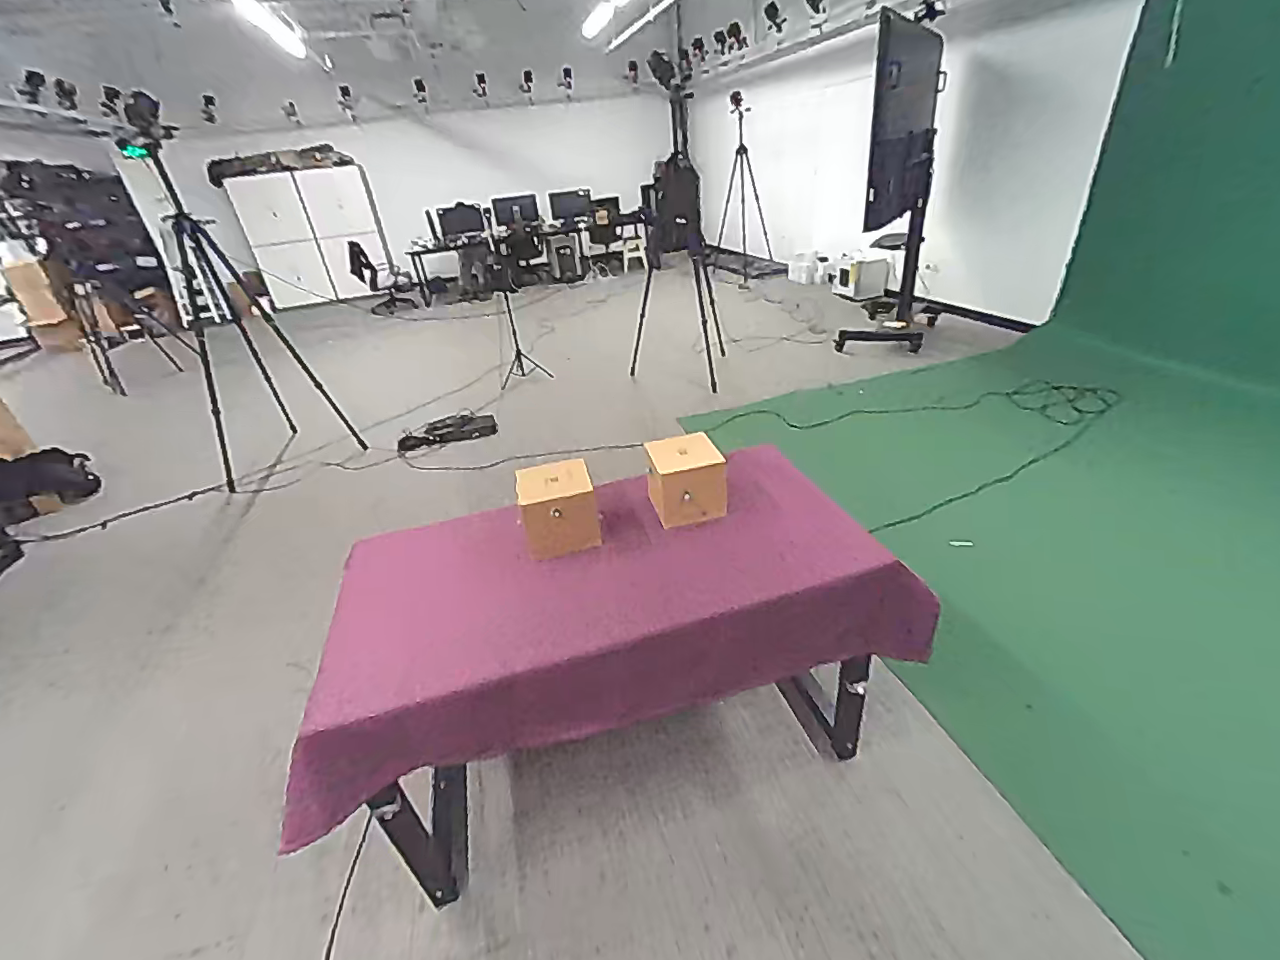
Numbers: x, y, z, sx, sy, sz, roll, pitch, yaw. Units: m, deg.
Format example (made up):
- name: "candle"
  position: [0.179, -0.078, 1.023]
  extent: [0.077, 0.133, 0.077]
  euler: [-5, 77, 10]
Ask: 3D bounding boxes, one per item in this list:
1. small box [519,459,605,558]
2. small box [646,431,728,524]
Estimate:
- name: "small box"
  position: [-0.193, 0.072, 1.337]
  extent: [0.179, 0.176, 0.168]
  euler: [-12, 32, -8]
- name: "small box"
  position: [0.122, -0.002, 1.389]
  extent: [0.168, 0.176, 0.179]
  euler: [-12, 30, -7]
